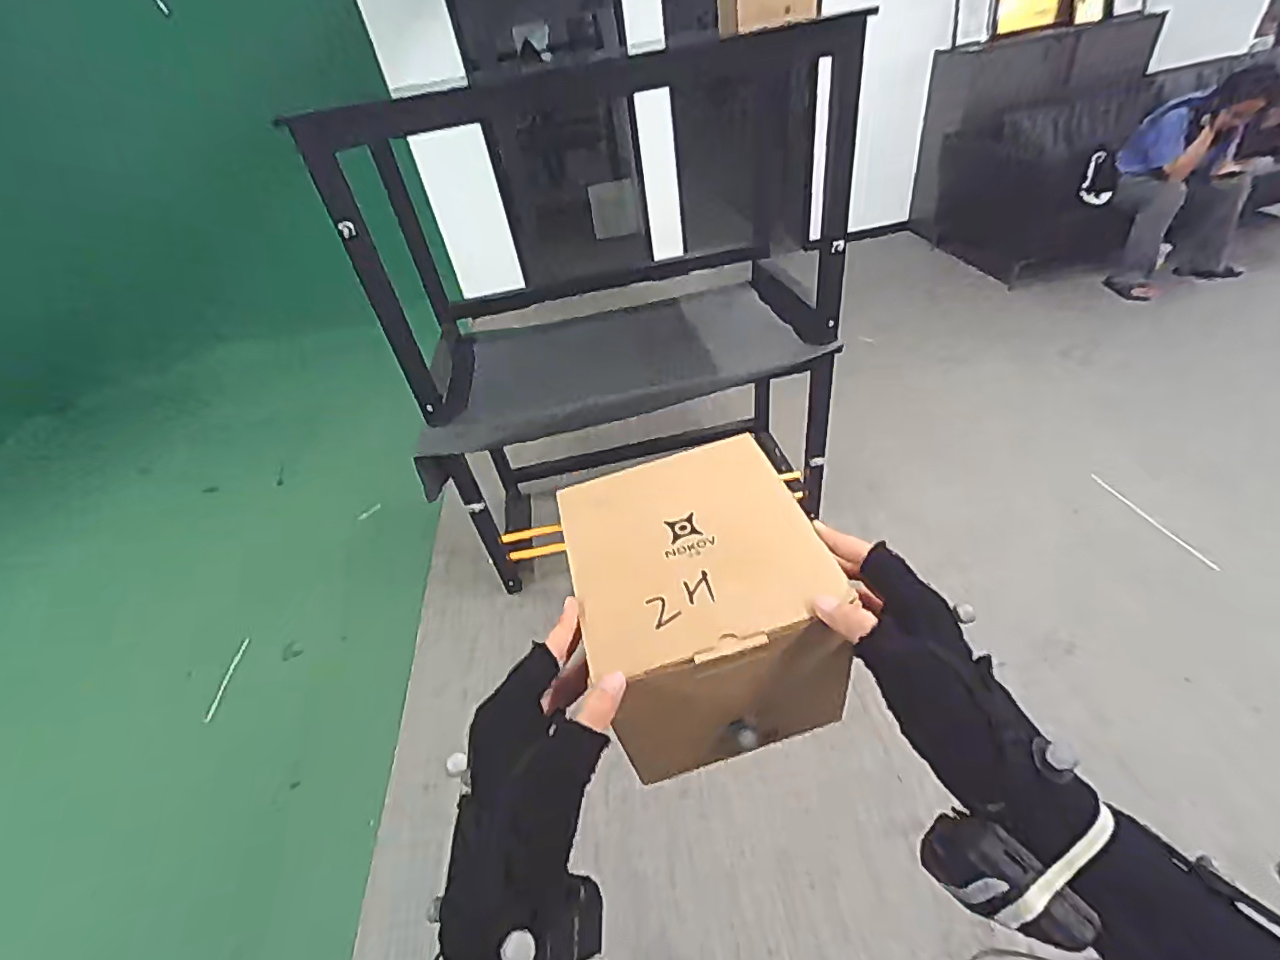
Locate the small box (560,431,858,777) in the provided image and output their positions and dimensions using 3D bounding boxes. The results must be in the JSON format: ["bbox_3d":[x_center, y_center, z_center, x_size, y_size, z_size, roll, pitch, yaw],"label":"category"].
[{"bbox_3d":[0.045,0.094,0.423,0.168,0.176,0.179,-17,41,-2],"label":"small box"}]
